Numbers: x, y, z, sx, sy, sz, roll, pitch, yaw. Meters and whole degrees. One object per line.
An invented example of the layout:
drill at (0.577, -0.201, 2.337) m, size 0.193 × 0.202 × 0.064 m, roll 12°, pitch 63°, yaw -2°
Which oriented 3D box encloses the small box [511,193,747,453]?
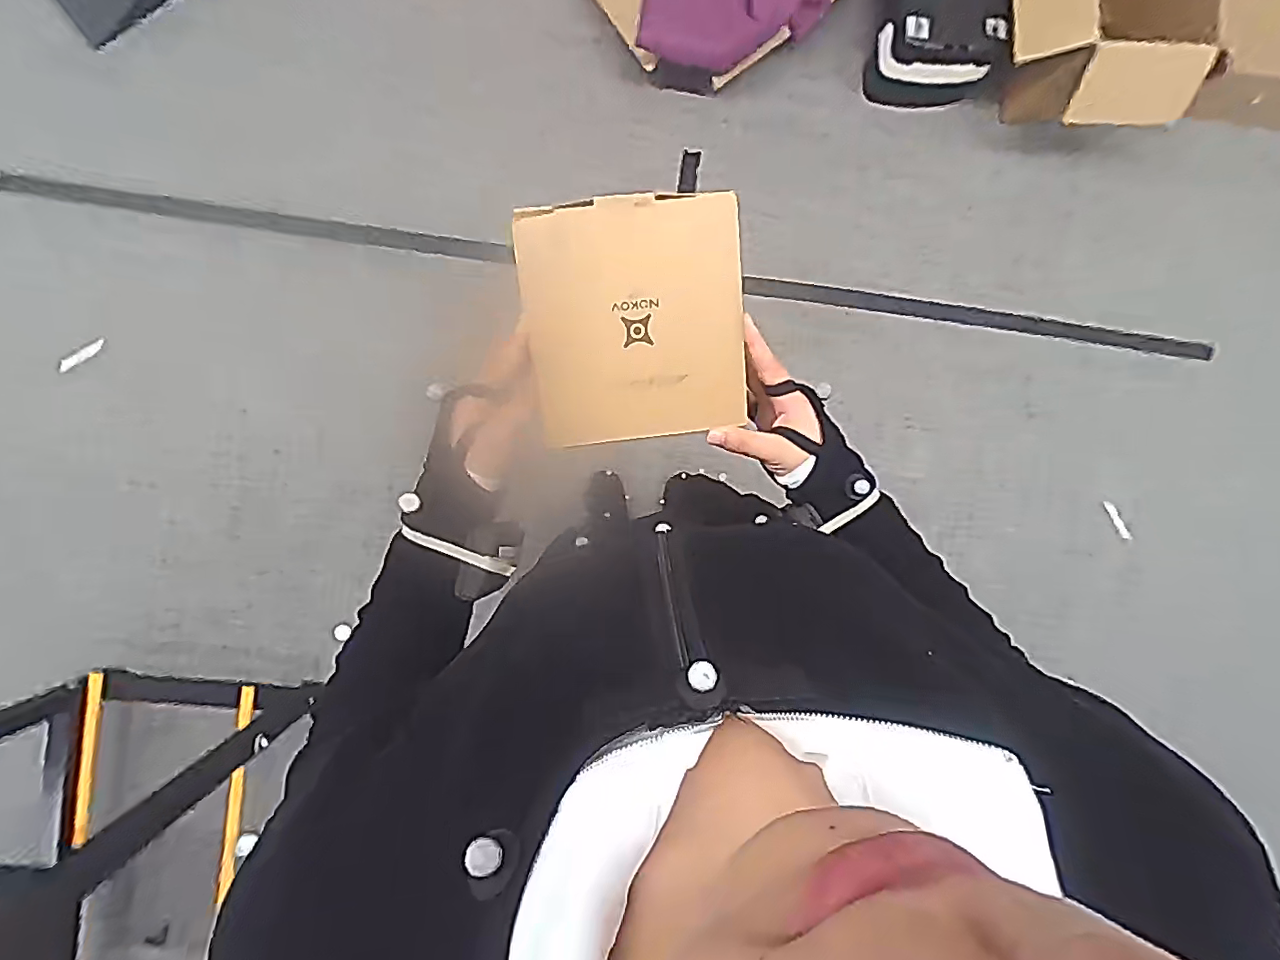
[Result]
small box at (-0.012, -0.133, 0.479) m, size 0.168 × 0.176 × 0.179 m, roll -7°, pitch 106°, yaw -4°
